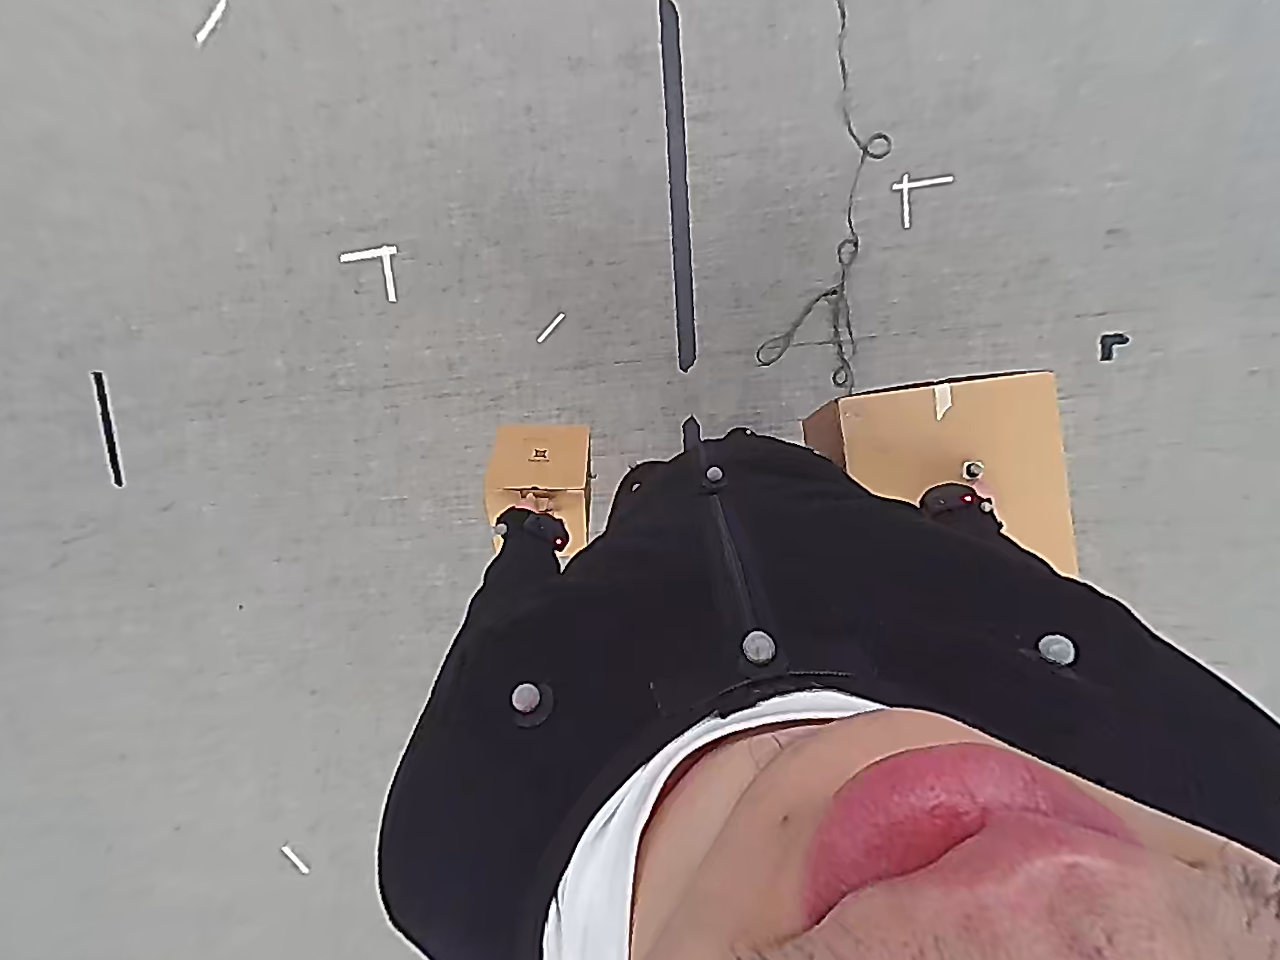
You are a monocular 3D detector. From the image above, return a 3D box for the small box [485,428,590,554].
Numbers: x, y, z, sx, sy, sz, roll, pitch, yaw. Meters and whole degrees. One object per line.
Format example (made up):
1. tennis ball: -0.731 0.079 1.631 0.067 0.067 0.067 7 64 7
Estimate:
1. small box: -0.178 0.022 0.996 0.168 0.179 0.176 1 130 -4
